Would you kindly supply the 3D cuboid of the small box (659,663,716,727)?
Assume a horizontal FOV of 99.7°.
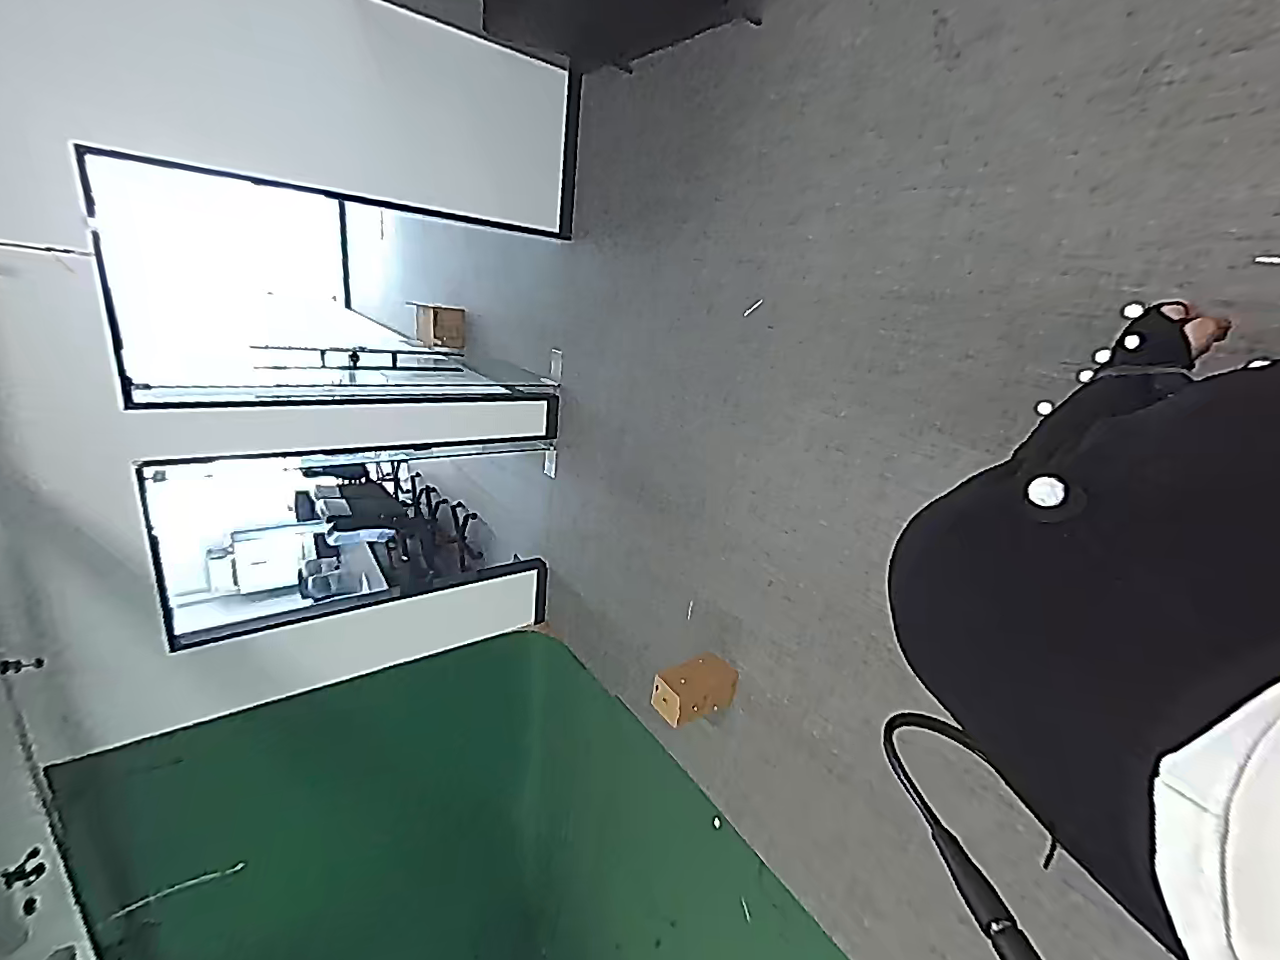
[{"bbox_3d":[0.207,0.927,2.348,0.179,0.176,0.168,30,118,48],"label":"small box"}]
